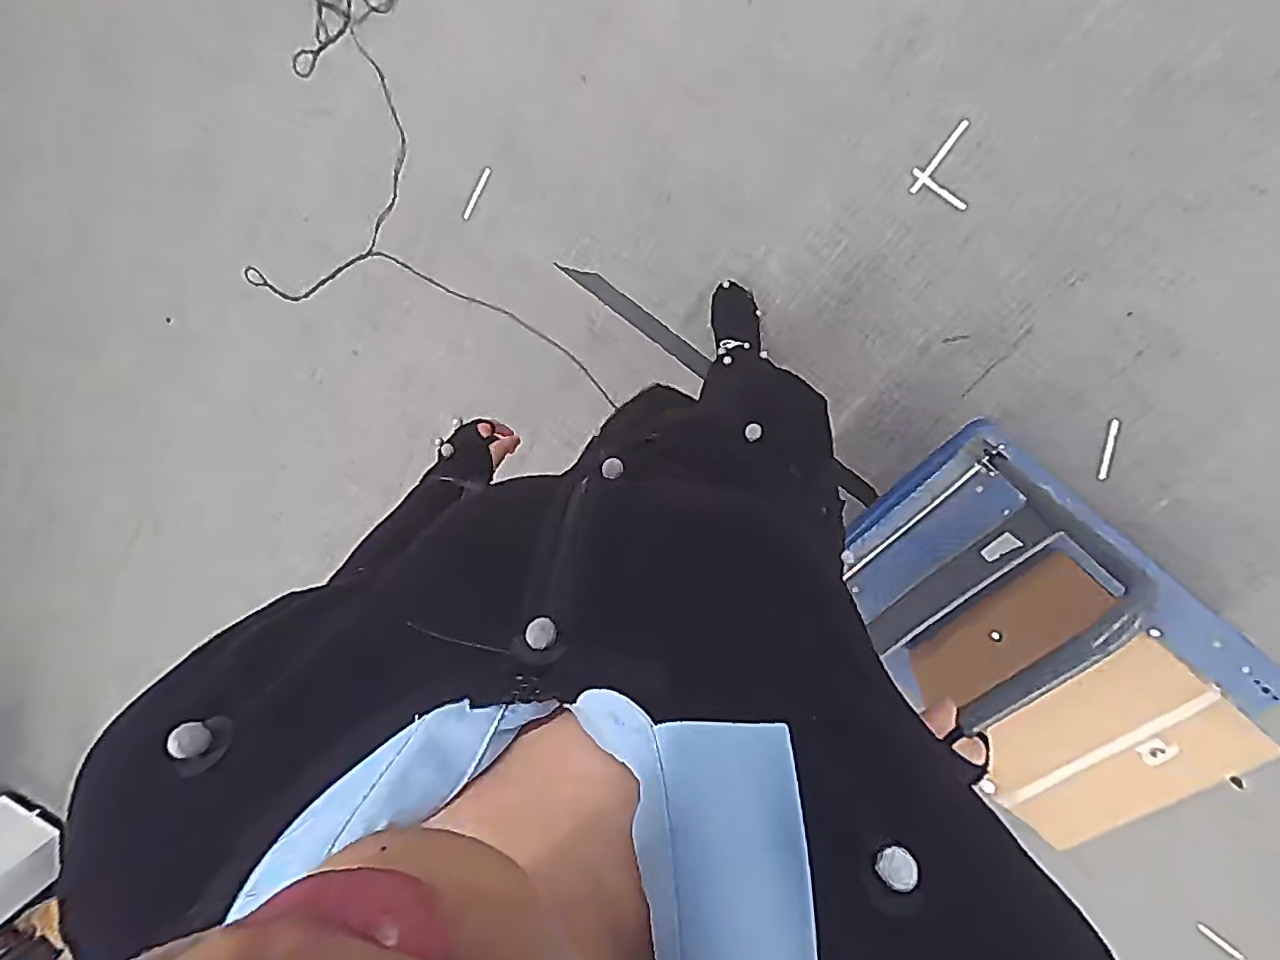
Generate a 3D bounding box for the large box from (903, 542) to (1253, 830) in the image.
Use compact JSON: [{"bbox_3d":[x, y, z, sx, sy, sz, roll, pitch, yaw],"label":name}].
[{"bbox_3d":[0.837,0.408,1.120,0.320,0.320,0.408,41,112,-1],"label":"large box"}]
